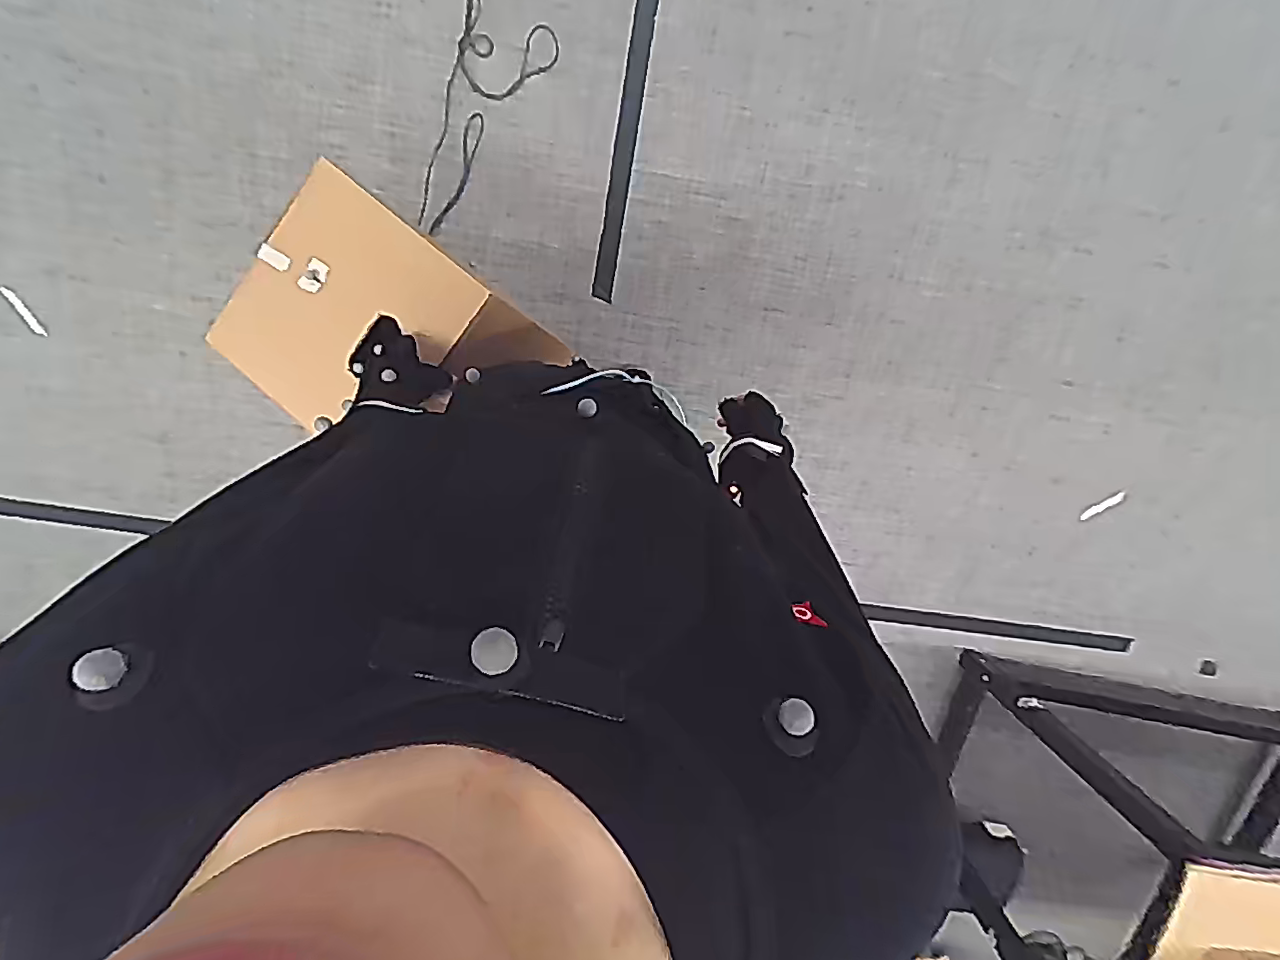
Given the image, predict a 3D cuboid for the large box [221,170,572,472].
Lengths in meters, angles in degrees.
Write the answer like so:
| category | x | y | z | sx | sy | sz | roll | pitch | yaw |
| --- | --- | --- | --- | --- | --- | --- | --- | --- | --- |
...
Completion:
| category | x | y | z | sx | sy | sz | roll | pitch | yaw |
| --- | --- | --- | --- | --- | --- | --- | --- | --- | --- |
| large box | -0.379 | -0.236 | 0.940 | 0.320 | 0.408 | 0.320 | 41 | 98 | 5 |
